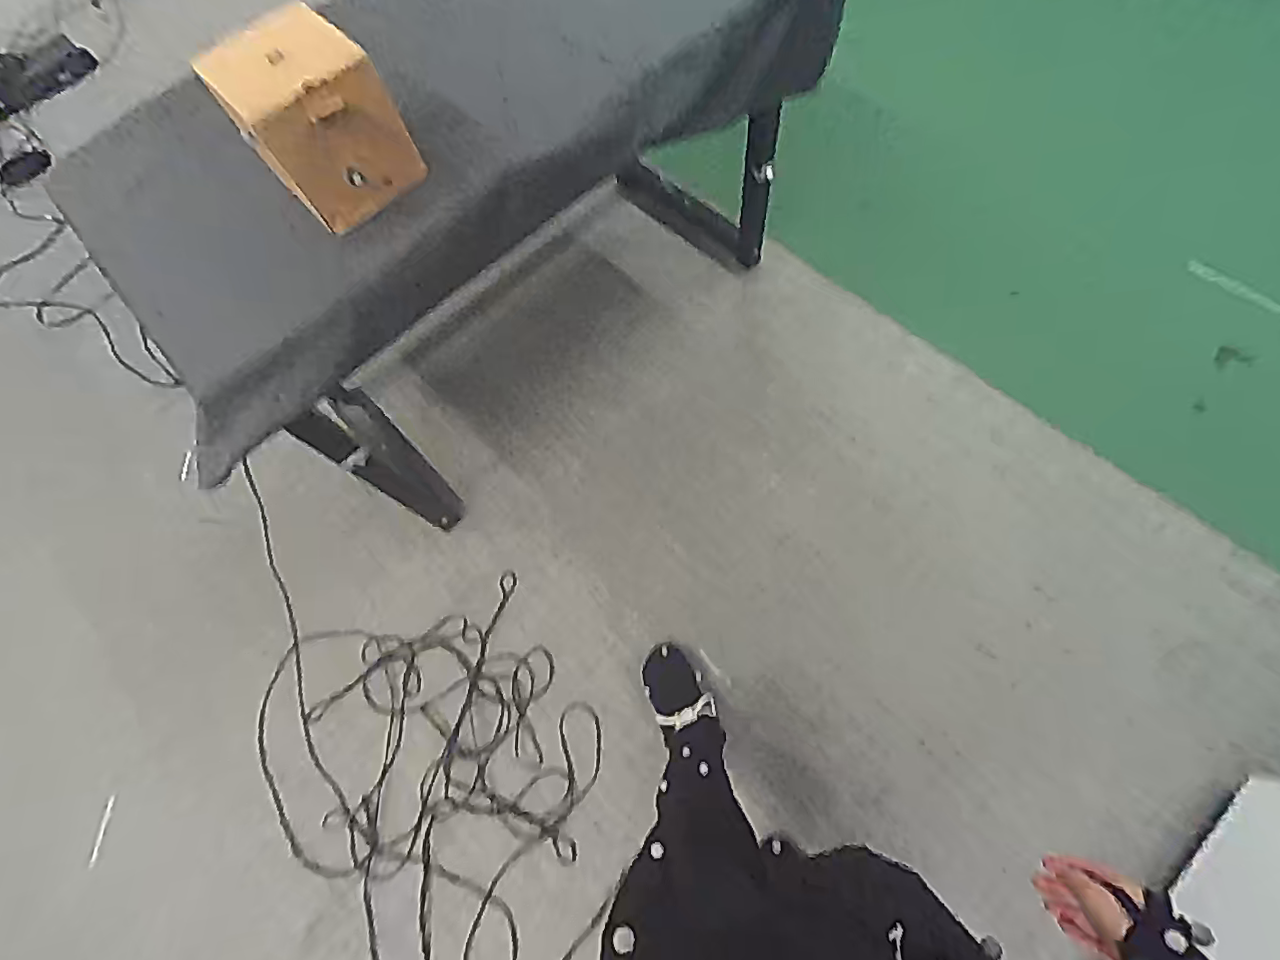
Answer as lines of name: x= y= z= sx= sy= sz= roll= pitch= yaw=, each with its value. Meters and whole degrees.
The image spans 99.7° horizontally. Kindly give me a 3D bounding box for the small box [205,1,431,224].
small box: x=-0.428 y=-0.495 z=0.745 sx=0.168 sy=0.176 sz=0.179 roll=-42 pitch=71 yaw=-11
